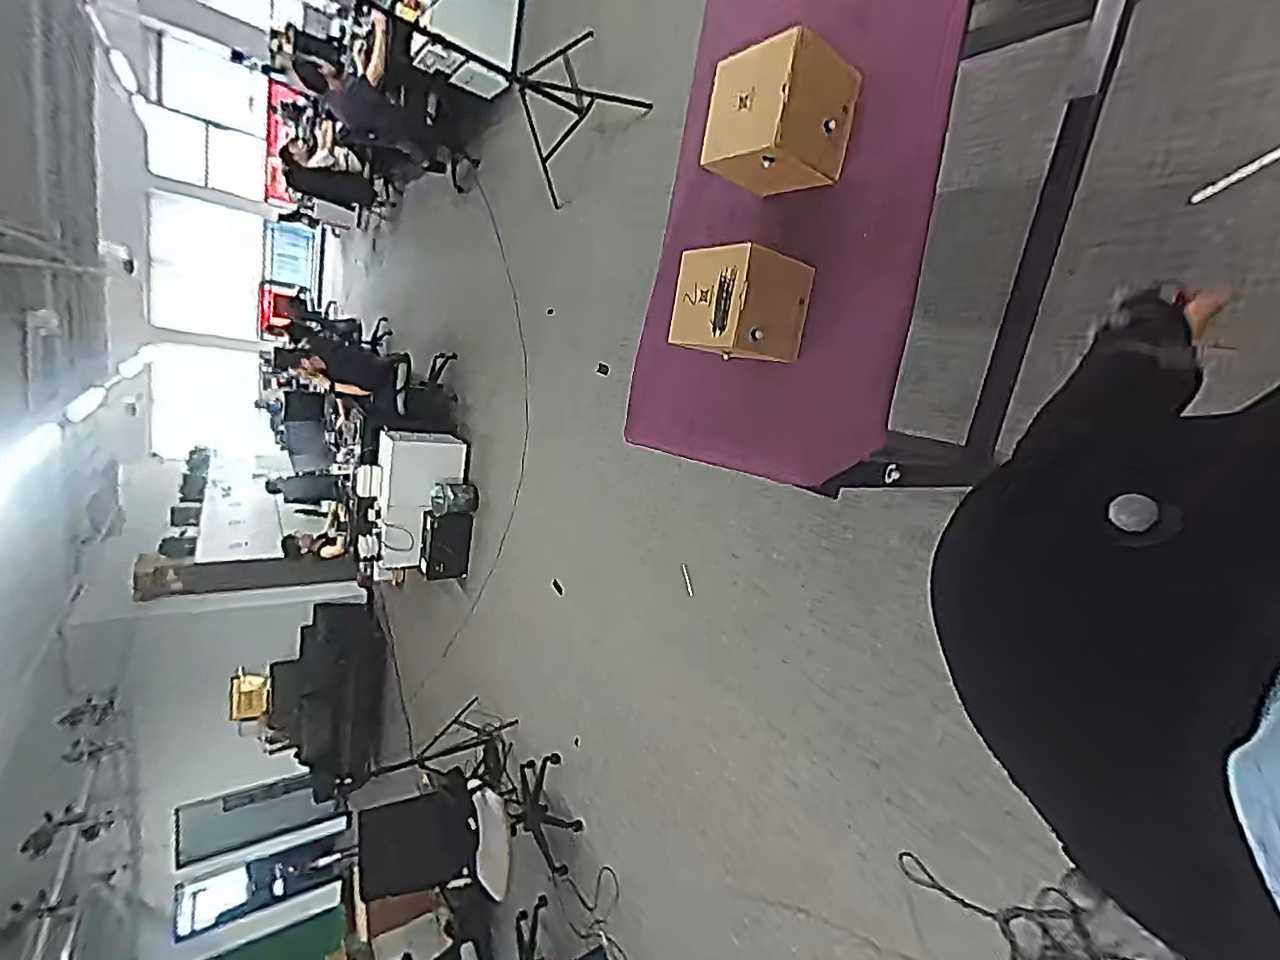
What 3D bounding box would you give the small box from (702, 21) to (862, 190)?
[{"bbox_3d":[0.238,-0.613,0.917,0.179,0.176,0.168,25,109,50],"label":"small box"}]
